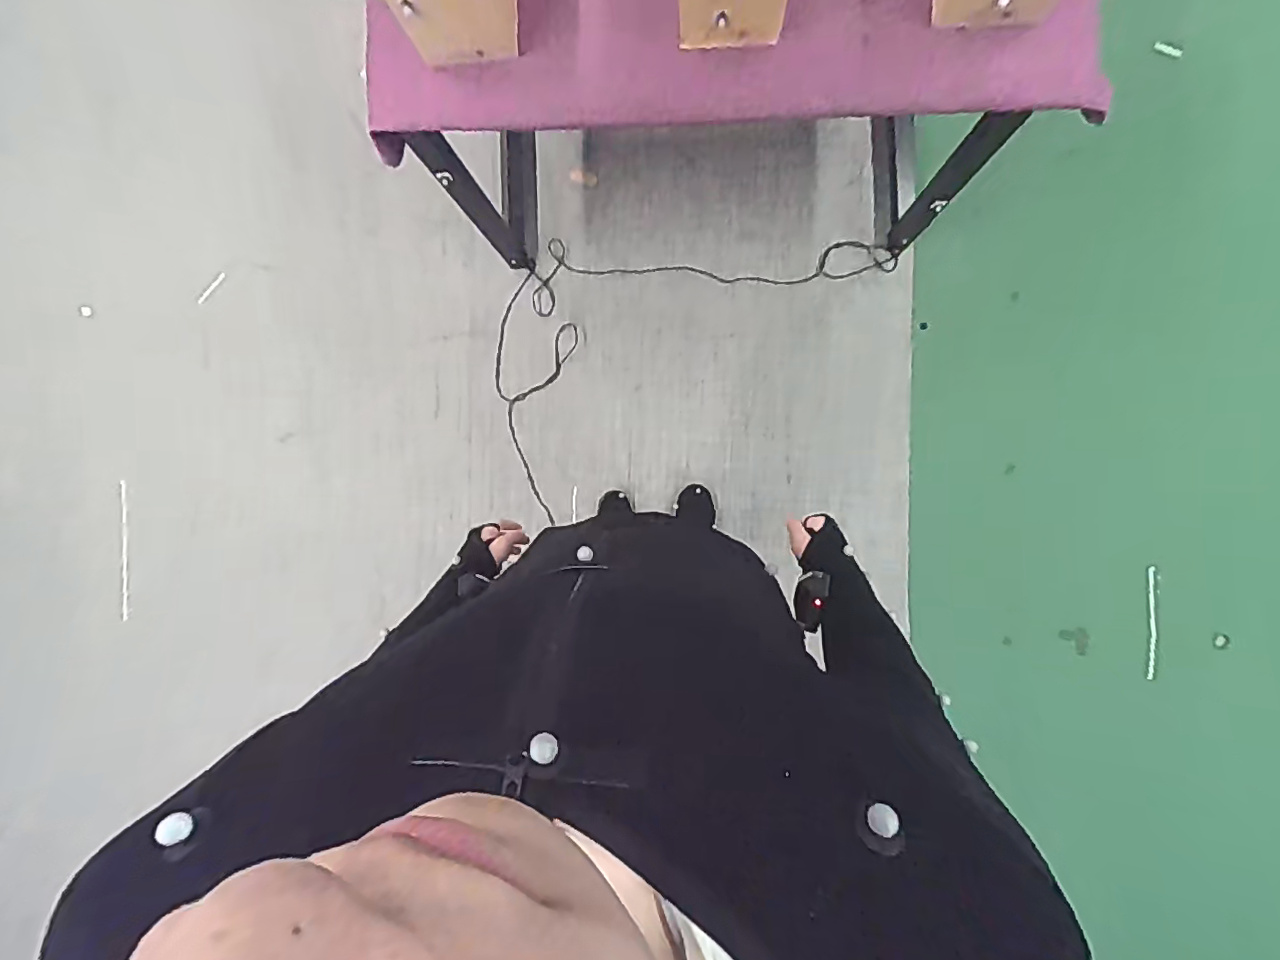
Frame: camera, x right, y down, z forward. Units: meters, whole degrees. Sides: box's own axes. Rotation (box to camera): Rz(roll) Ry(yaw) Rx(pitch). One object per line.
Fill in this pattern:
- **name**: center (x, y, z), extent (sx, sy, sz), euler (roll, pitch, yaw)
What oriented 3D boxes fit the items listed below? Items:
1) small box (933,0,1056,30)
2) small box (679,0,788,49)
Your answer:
- **small box**: center (0.547, -0.809, 0.786), extent (0.168, 0.176, 0.179), euler (2, 89, 6)
- **small box**: center (0.145, -0.809, 0.825), extent (0.168, 0.176, 0.179), euler (2, 90, 5)
